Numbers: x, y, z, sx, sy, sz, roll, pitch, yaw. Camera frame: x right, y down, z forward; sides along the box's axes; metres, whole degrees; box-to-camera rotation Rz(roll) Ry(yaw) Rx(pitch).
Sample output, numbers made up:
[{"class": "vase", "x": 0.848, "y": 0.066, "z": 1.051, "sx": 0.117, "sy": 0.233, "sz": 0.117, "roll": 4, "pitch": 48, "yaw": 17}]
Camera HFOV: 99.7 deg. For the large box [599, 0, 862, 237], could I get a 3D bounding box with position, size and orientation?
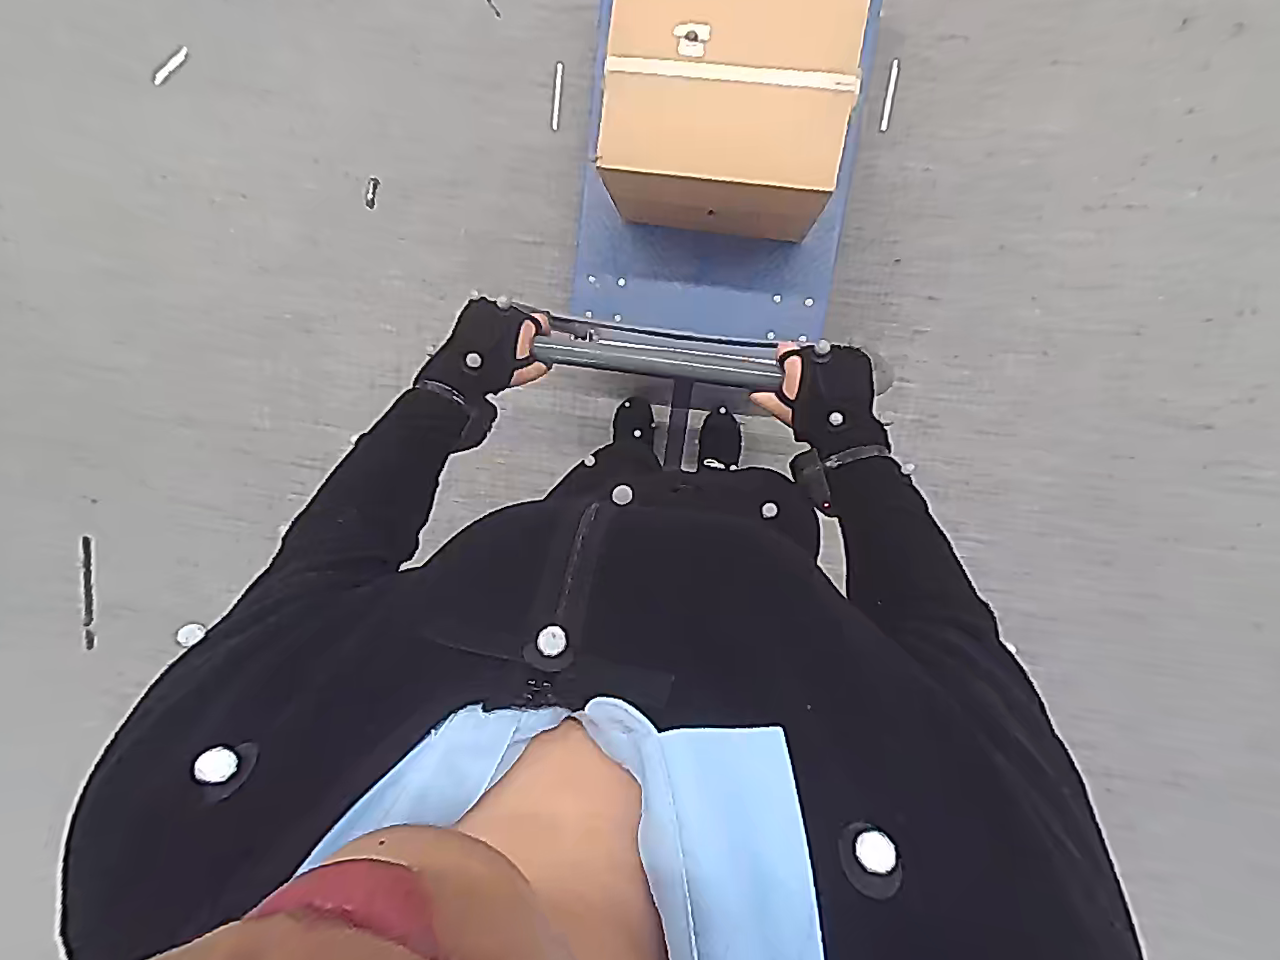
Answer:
[{"class": "large box", "x": 0.161, "y": -0.680, "z": 1.039, "sx": 0.408, "sy": 0.320, "sz": 0.320, "roll": 9, "pitch": 99, "yaw": 6}]
